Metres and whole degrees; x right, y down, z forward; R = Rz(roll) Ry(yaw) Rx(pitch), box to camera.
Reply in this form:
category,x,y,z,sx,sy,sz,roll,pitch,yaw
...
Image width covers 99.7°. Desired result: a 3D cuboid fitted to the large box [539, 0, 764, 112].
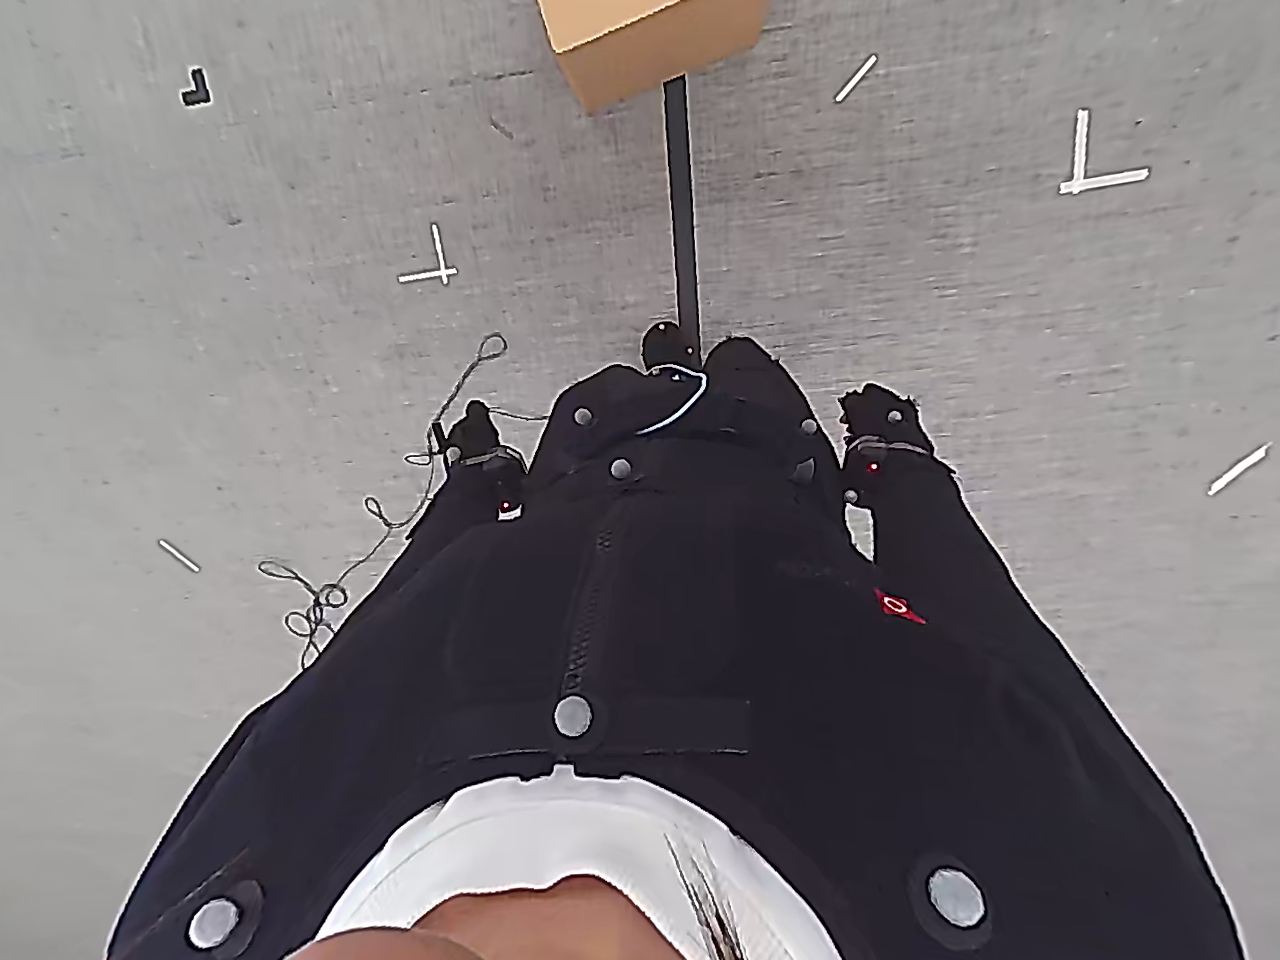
category,x,y,z,sx,sy,sz,roll,pitch,yaw
large box,0.001,-0.980,1.015,0.408,0.320,0.320,-16,106,9
